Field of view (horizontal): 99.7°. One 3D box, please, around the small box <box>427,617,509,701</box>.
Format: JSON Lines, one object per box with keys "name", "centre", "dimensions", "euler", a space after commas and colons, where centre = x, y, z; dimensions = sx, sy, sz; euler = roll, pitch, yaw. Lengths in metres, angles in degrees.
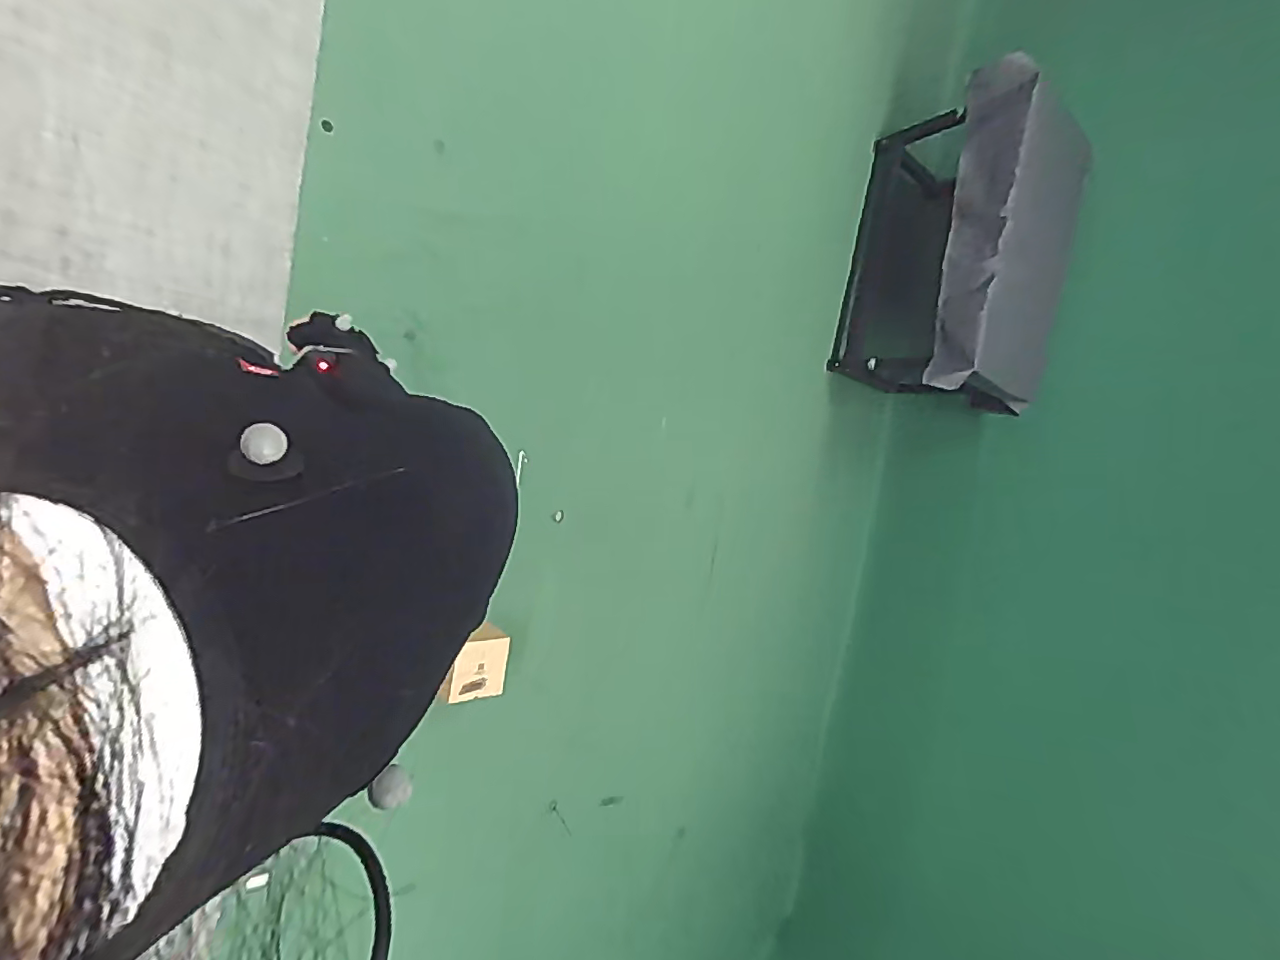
{"name": "small box", "centre": [-0.514, 0.523, 1.603], "dimensions": [0.168, 0.176, 0.179], "euler": [7, 94, -43]}
